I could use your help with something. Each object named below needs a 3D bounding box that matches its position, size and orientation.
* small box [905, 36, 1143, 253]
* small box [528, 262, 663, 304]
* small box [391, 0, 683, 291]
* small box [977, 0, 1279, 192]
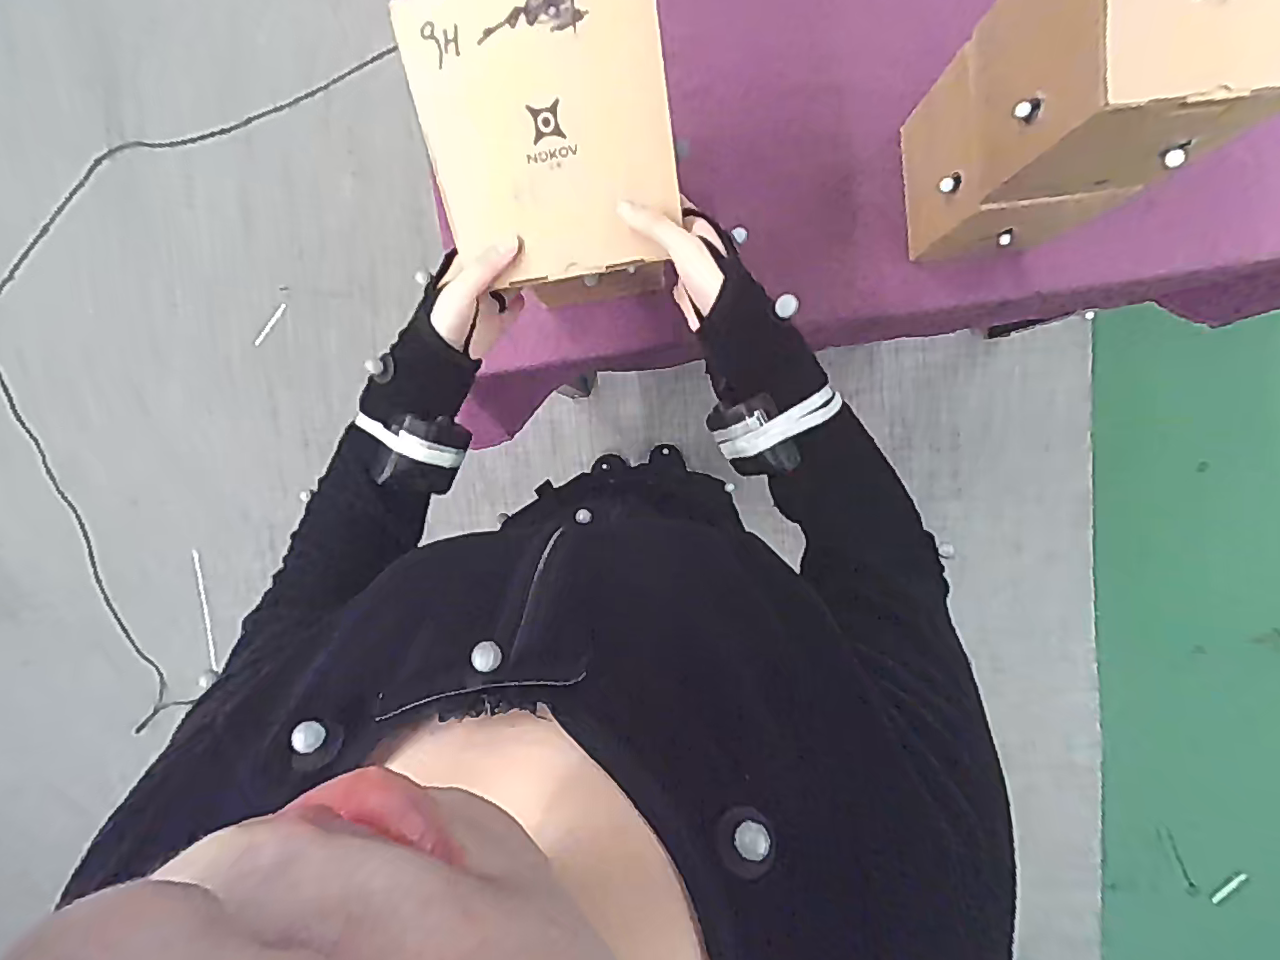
[{"bbox_3d":[0.430,-0.380,0.632,0.168,0.176,0.179,-6,94,3],"label":"small box"},{"bbox_3d":[-0.069,-0.329,0.666,0.179,0.176,0.168,-9,93,3],"label":"small box"},{"bbox_3d":[-0.056,-0.264,0.429,0.168,0.176,0.179,-7,116,7],"label":"small box"},{"bbox_3d":[0.421,-0.372,0.469,0.168,0.176,0.179,-4,93,3],"label":"small box"}]
